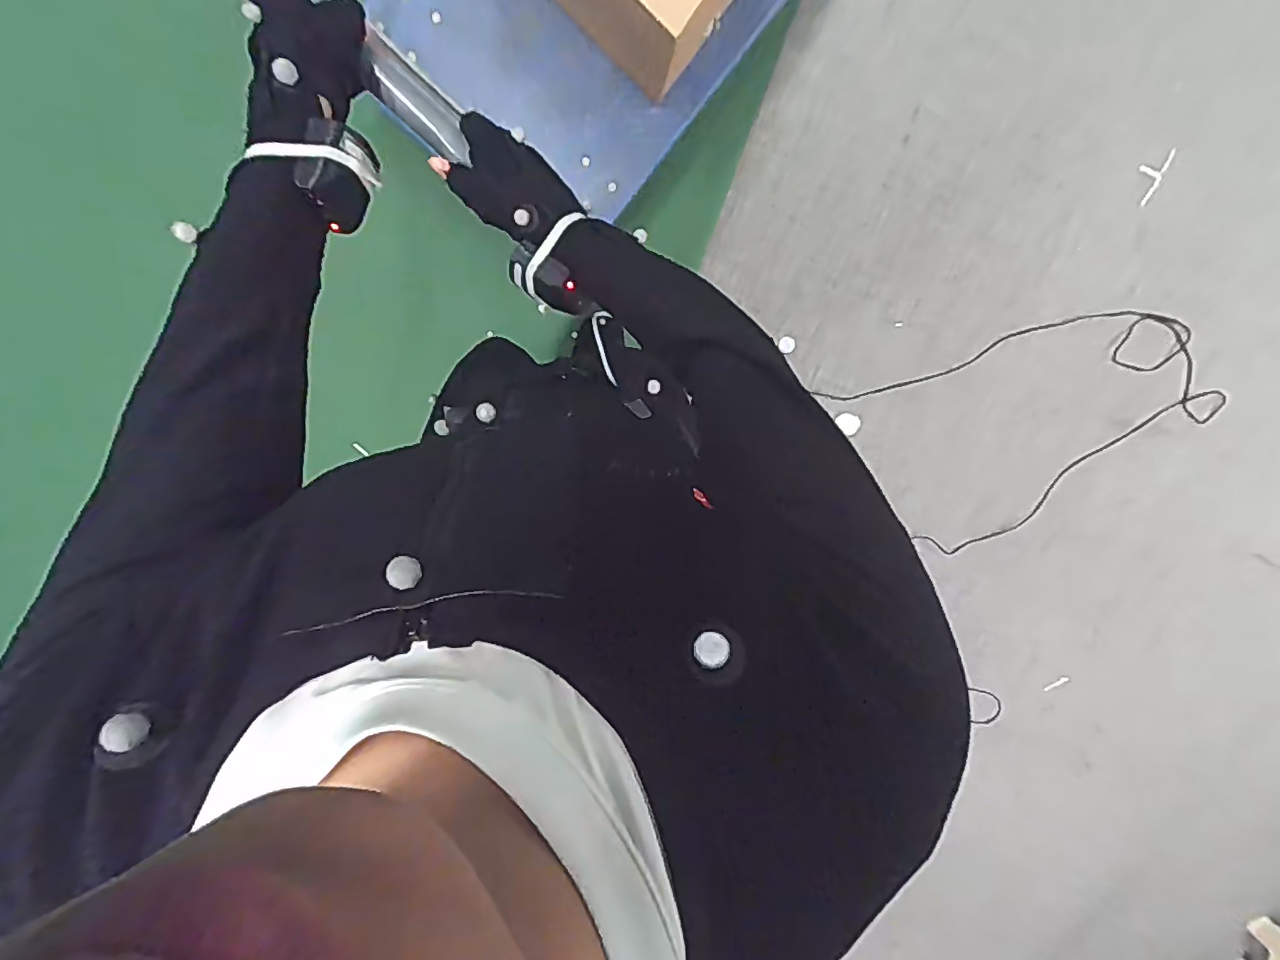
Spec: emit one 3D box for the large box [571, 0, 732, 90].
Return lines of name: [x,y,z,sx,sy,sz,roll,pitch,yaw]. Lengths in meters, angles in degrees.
large box: [-0.001,-0.927,0.836,0.408,0.320,0.320,37,104,-15]
